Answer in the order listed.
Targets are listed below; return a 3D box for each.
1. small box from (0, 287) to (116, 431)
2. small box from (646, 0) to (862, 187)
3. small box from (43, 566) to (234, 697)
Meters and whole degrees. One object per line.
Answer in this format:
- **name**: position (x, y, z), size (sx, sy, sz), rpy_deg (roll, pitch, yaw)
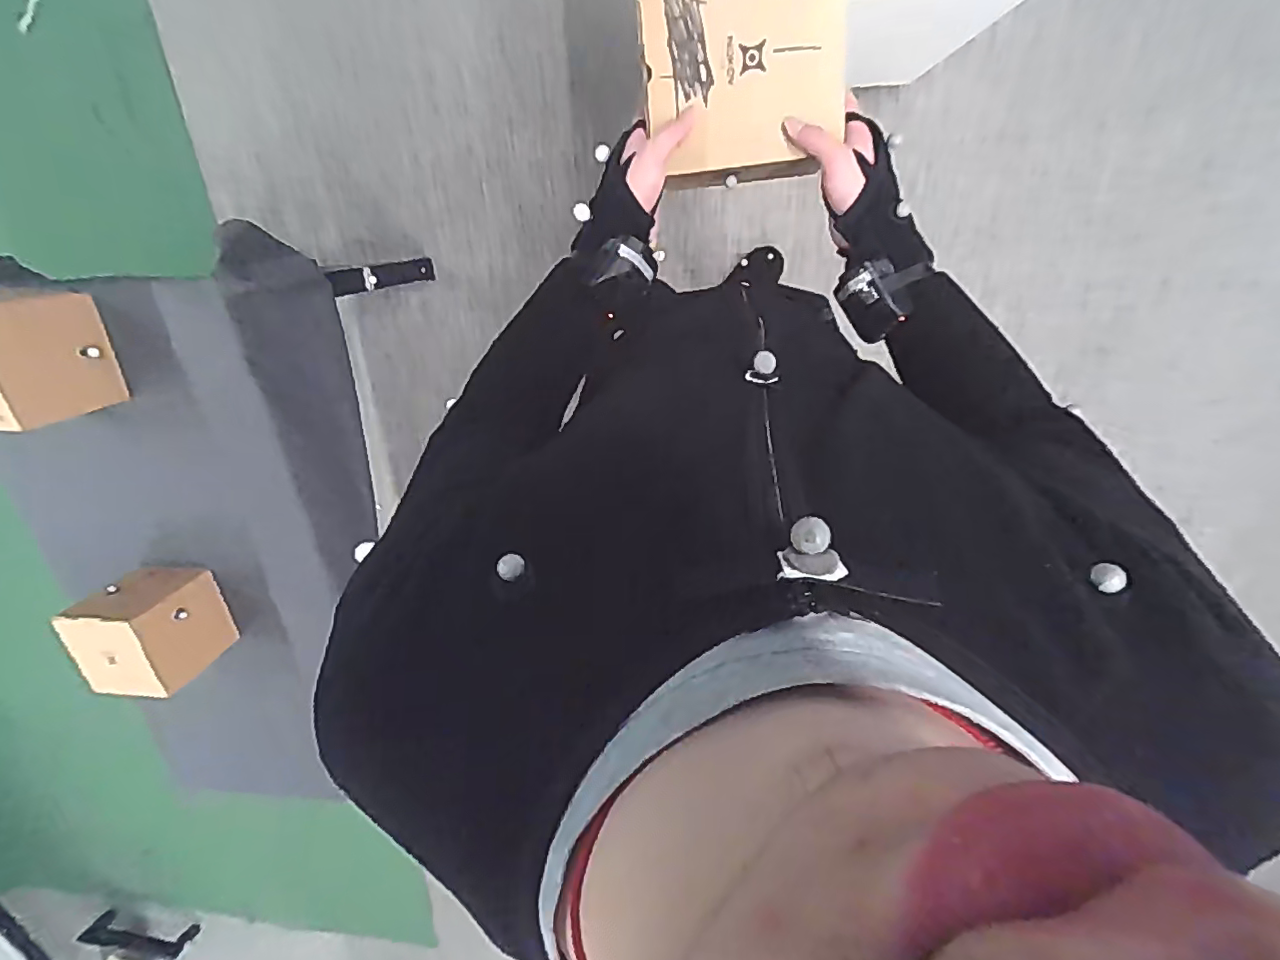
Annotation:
- **small box**: position (-0.949, -0.186, 0.795), size (0.168, 0.176, 0.179), rpy_deg (4, 116, 5)
- **small box**: position (0.104, -0.391, 0.527), size (0.179, 0.176, 0.168), rpy_deg (-2, 114, 8)
- **small box**: position (-0.929, 0.279, 1.022), size (0.168, 0.176, 0.179), rpy_deg (1, 117, 8)
